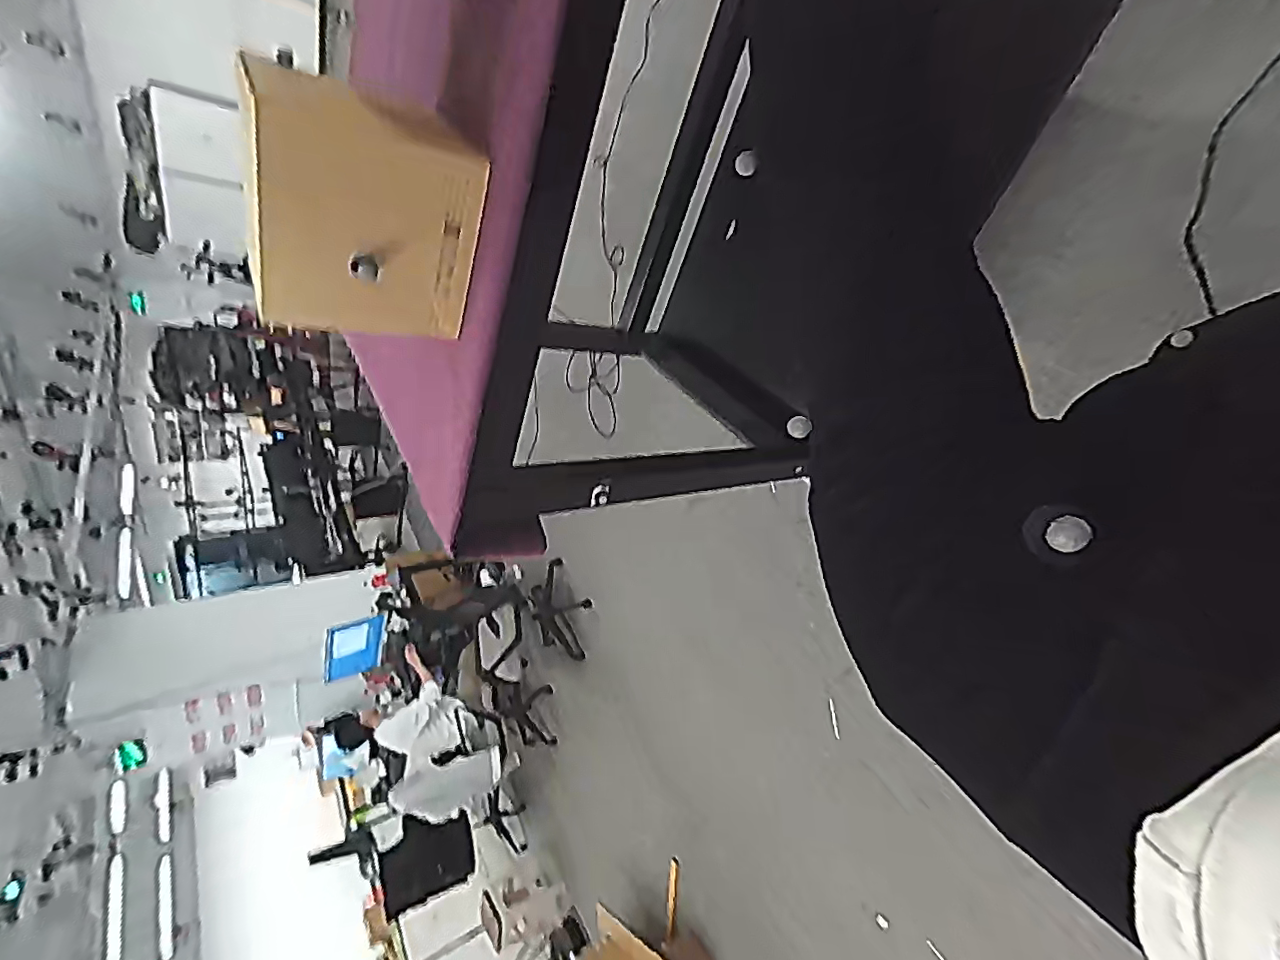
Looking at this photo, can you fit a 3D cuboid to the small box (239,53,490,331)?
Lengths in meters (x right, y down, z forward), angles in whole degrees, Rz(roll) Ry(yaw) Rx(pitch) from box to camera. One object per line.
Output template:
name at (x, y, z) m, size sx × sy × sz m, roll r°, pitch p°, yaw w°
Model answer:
small box at (-0.252, -0.250, 0.497) m, size 0.179 × 0.176 × 0.168 m, roll 52°, pitch 132°, yaw 36°
